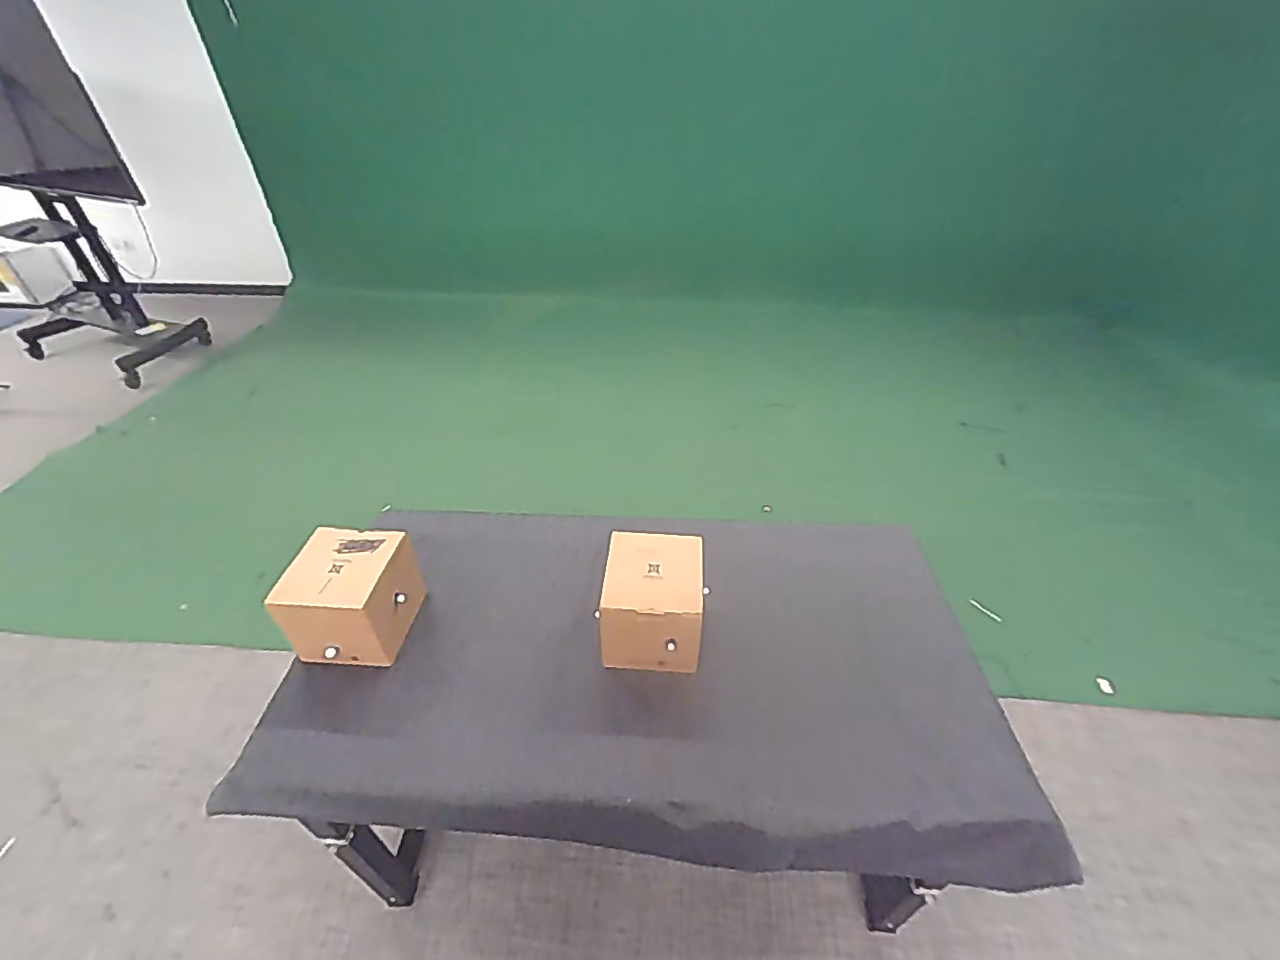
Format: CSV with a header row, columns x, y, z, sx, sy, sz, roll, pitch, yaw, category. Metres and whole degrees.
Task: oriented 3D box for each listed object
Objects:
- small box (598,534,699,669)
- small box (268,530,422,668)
x,y,z,sx,sy,sz,roll,pitch,yaw,category
0.018,0.220,0.975,0.168,0.176,0.179,3,39,2,small box
-0.513,0.212,0.975,0.168,0.176,0.179,3,40,2,small box
